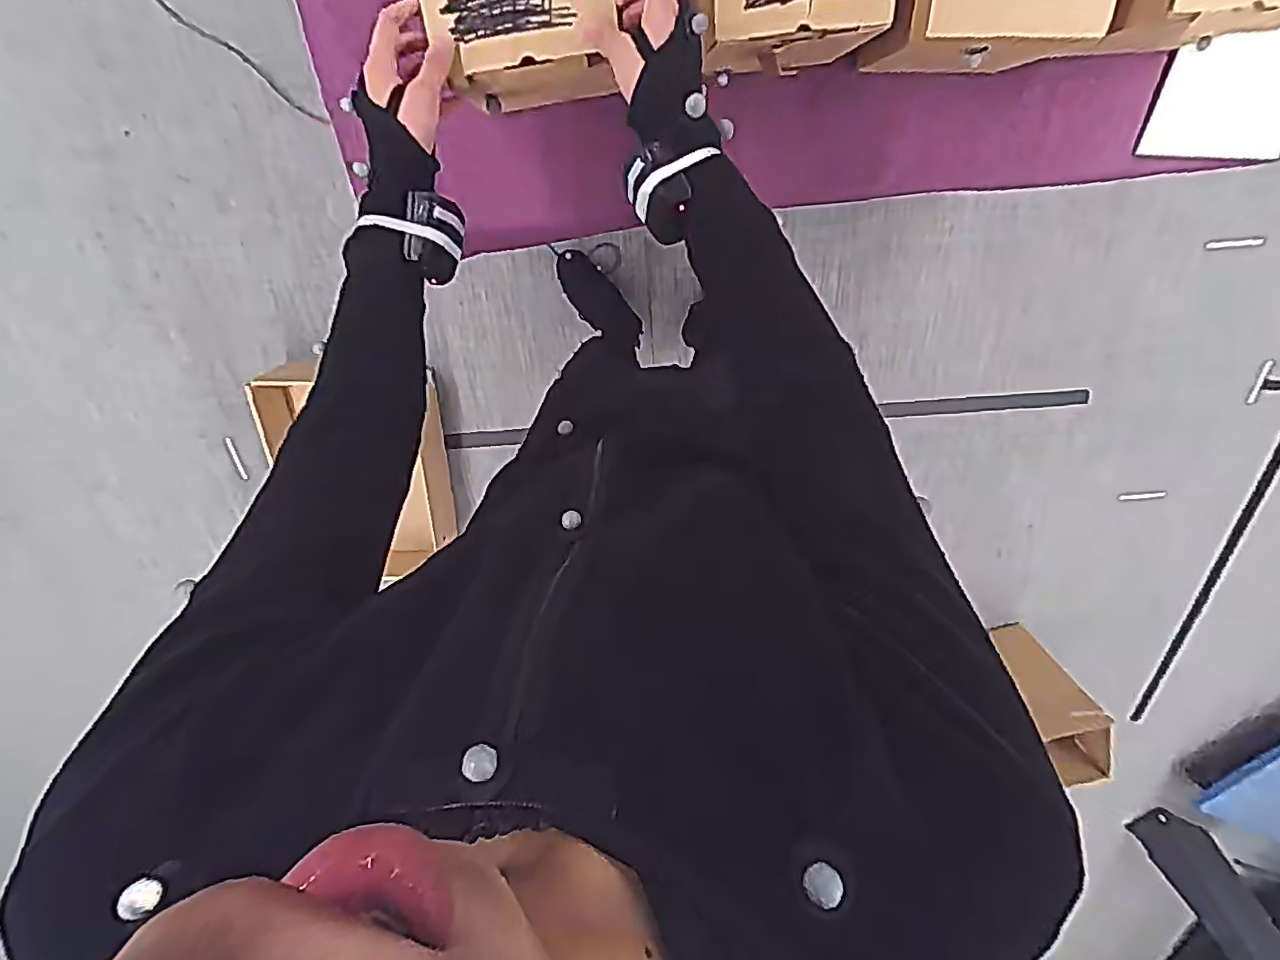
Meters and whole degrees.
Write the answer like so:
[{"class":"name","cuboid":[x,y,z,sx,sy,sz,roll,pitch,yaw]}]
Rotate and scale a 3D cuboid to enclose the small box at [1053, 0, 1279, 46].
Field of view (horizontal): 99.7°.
[{"class":"small box","cuboid":[0.556,-0.548,0.526,0.168,0.176,0.179,-4,118,-2]}]
